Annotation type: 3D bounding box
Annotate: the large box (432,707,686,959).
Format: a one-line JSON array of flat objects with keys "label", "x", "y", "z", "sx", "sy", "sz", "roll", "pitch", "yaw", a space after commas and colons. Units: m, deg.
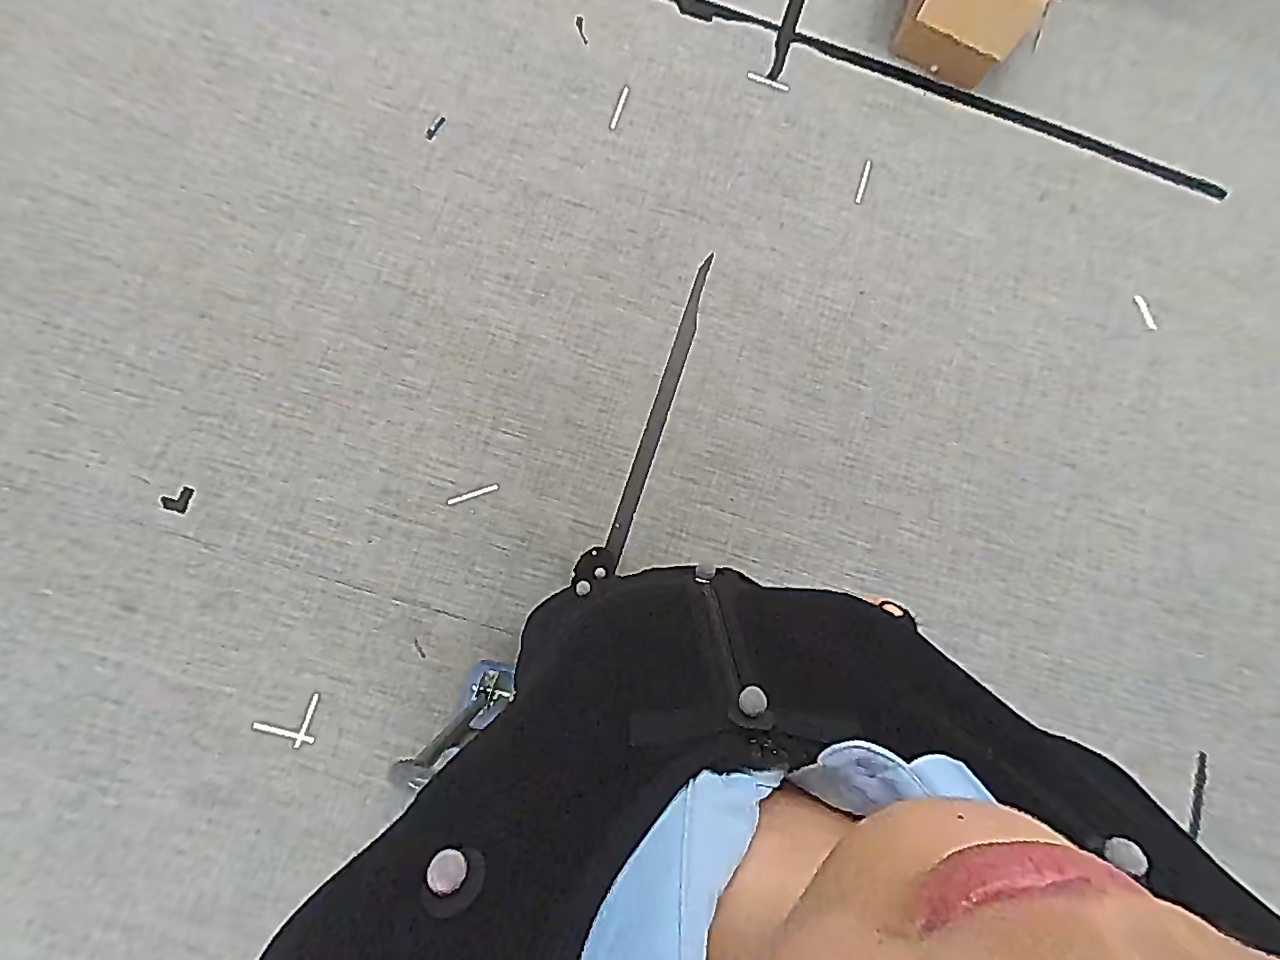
[{"label": "large box", "x": -0.146, "y": 0.698, "z": 1.110, "sx": 0.408, "sy": 0.320, "sz": 0.320, "roll": 13, "pitch": 80, "yaw": -2}]
